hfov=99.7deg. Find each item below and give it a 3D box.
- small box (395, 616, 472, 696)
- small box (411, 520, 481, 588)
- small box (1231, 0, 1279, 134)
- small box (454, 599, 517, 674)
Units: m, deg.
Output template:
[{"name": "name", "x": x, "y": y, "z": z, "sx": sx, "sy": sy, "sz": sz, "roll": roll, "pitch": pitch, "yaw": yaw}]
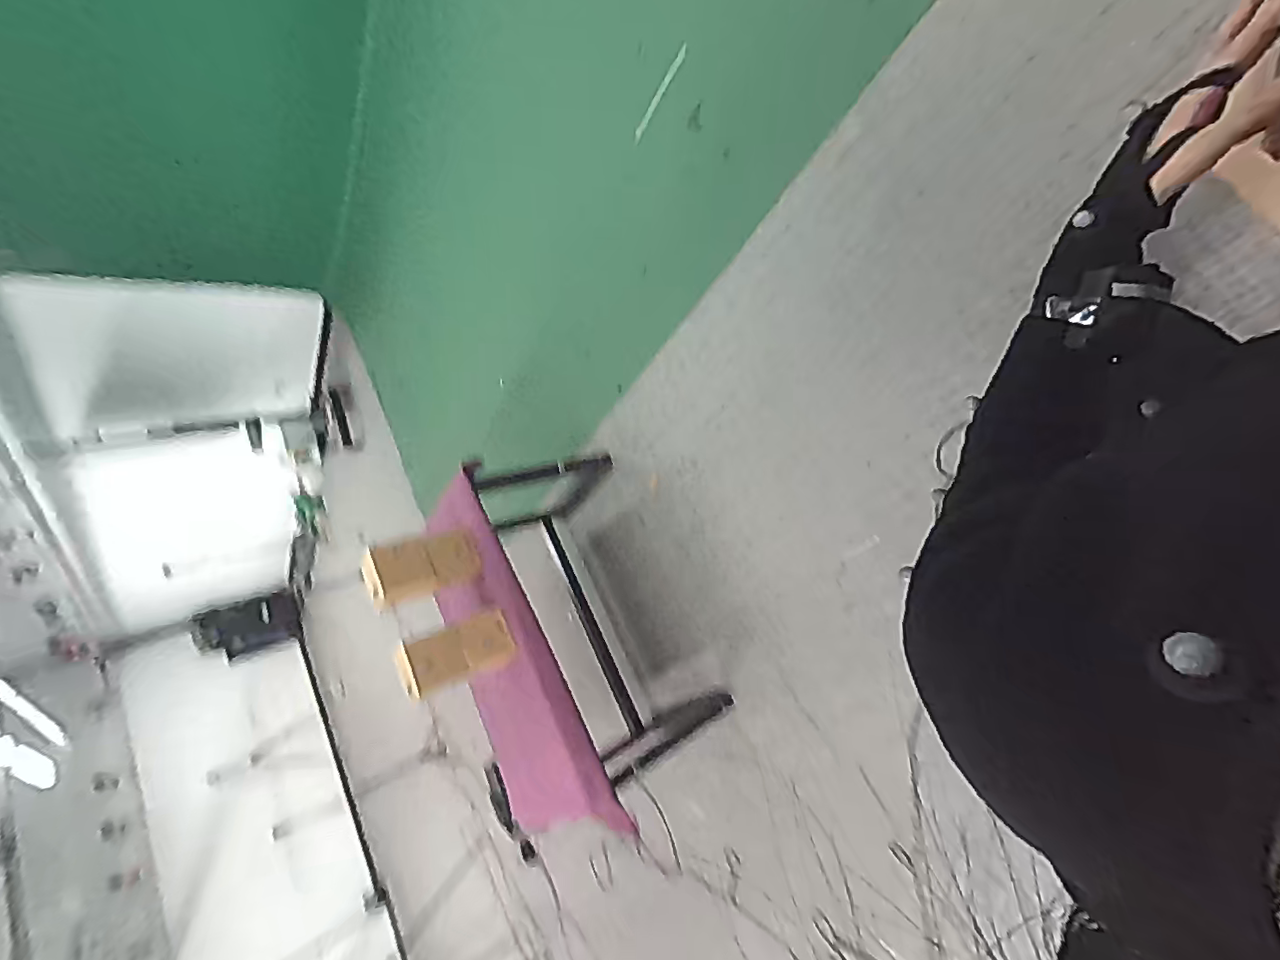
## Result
[{"name": "small box", "x": -0.658, "y": 0.561, "z": 1.729, "sx": 0.168, "sy": 0.176, "sz": 0.179, "roll": -42, "pitch": 69, "yaw": 47}, {"name": "small box", "x": -0.683, "y": 0.259, "z": 1.915, "sx": 0.179, "sy": 0.176, "sz": 0.168, "roll": -41, "pitch": 70, "yaw": 46}, {"name": "small box", "x": 0.514, "y": -0.346, "z": 0.341, "sx": 0.168, "sy": 0.176, "sz": 0.179, "roll": 4, "pitch": 122, "yaw": 39}, {"name": "small box", "x": -0.539, "y": 0.529, "z": 1.838, "sx": 0.179, "sy": 0.176, "sz": 0.168, "roll": -47, "pitch": 67, "yaw": 46}]
